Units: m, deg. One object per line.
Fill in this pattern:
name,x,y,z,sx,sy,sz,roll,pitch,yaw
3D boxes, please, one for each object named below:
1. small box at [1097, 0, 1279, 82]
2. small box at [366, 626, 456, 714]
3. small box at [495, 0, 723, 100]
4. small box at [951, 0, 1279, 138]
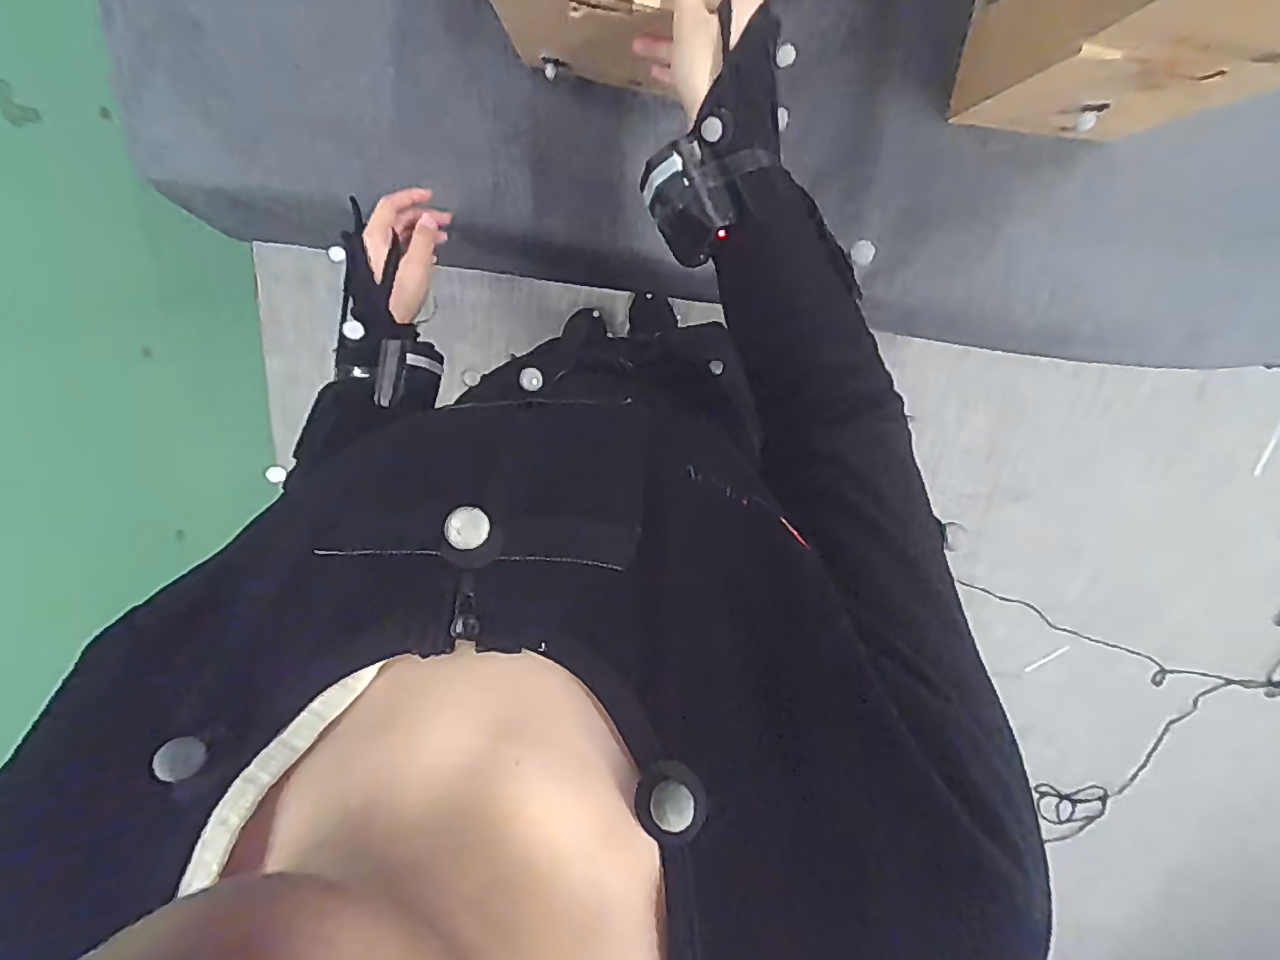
small box,0.377,-0.326,0.256,0.168,0.176,0.179,8,109,-3
small box,-0.630,0.523,1.507,0.179,0.176,0.168,3,110,-1
small box,-0.010,-0.416,0.398,0.168,0.176,0.179,10,108,-4
small box,0.373,-0.382,0.410,0.168,0.176,0.179,6,110,-2
